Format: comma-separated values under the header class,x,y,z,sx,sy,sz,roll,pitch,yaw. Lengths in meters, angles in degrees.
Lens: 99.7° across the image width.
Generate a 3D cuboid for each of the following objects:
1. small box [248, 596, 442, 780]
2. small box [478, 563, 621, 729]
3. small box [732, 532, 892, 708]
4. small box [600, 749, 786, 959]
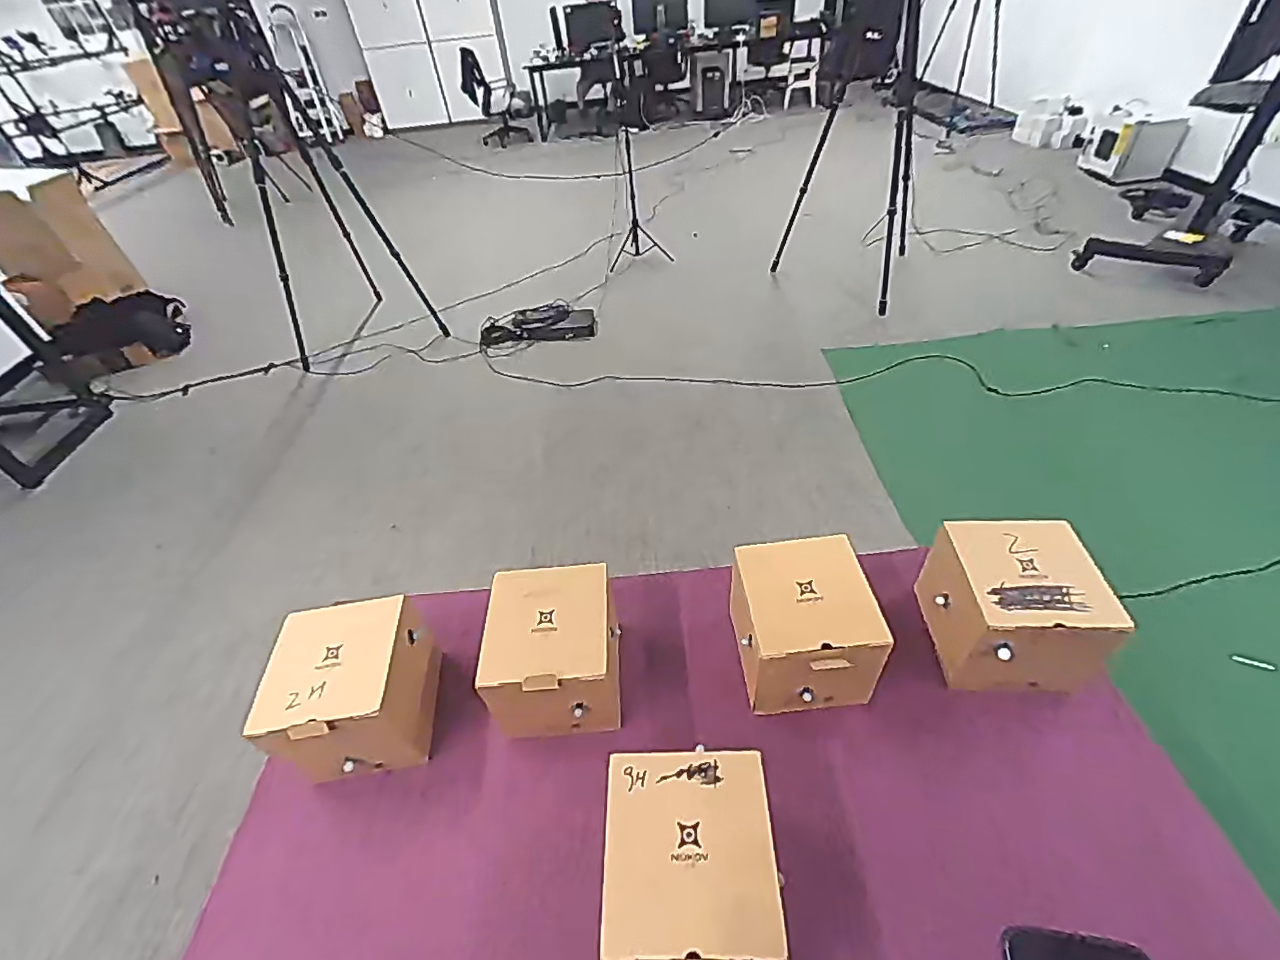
class,x,y,z,sx,sy,sz,roll,pitch,yaw
small box,-0.394,0.293,0.765,0.168,0.176,0.179,-10,44,-2
small box,-0.117,0.244,0.779,0.168,0.176,0.179,-5,44,1
small box,0.229,0.201,0.775,0.168,0.176,0.179,-7,44,1
small box,0.055,0.411,0.582,0.168,0.176,0.179,-3,44,4
